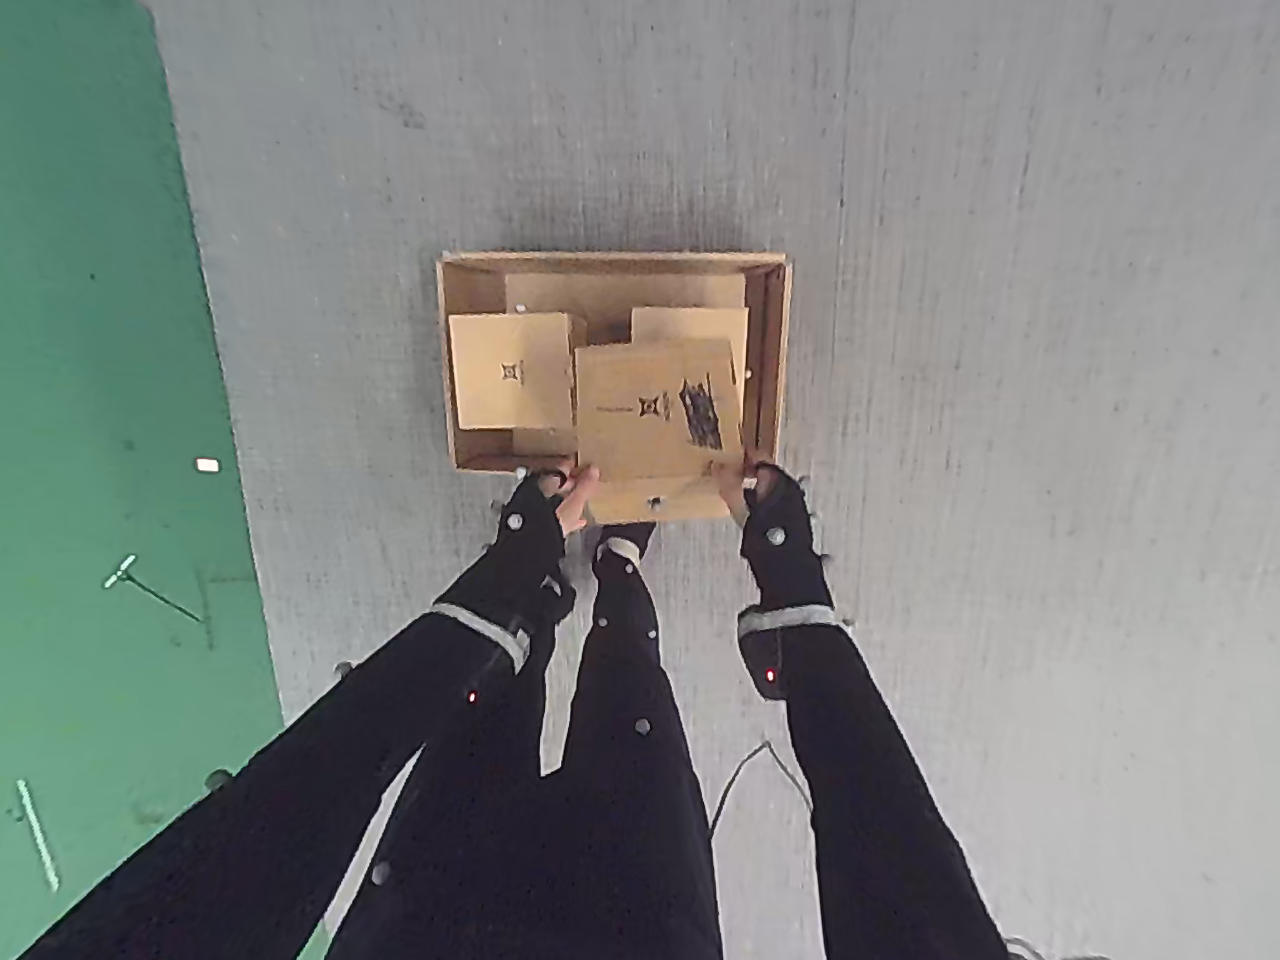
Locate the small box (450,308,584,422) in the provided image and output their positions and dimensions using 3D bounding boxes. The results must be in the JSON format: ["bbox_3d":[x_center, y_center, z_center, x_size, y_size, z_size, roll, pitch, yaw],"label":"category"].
[{"bbox_3d":[-0.187,-0.185,0.875,0.179,0.176,0.168,0,103,2],"label":"small box"}]

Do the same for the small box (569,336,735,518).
[{"bbox_3d":[0.012,-0.056,0.661,0.179,0.176,0.168,-3,70,2],"label":"small box"}]

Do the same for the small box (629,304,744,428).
[{"bbox_3d":[0.068,-0.182,0.863,0.168,0.176,0.179,2,103,2],"label":"small box"}]
